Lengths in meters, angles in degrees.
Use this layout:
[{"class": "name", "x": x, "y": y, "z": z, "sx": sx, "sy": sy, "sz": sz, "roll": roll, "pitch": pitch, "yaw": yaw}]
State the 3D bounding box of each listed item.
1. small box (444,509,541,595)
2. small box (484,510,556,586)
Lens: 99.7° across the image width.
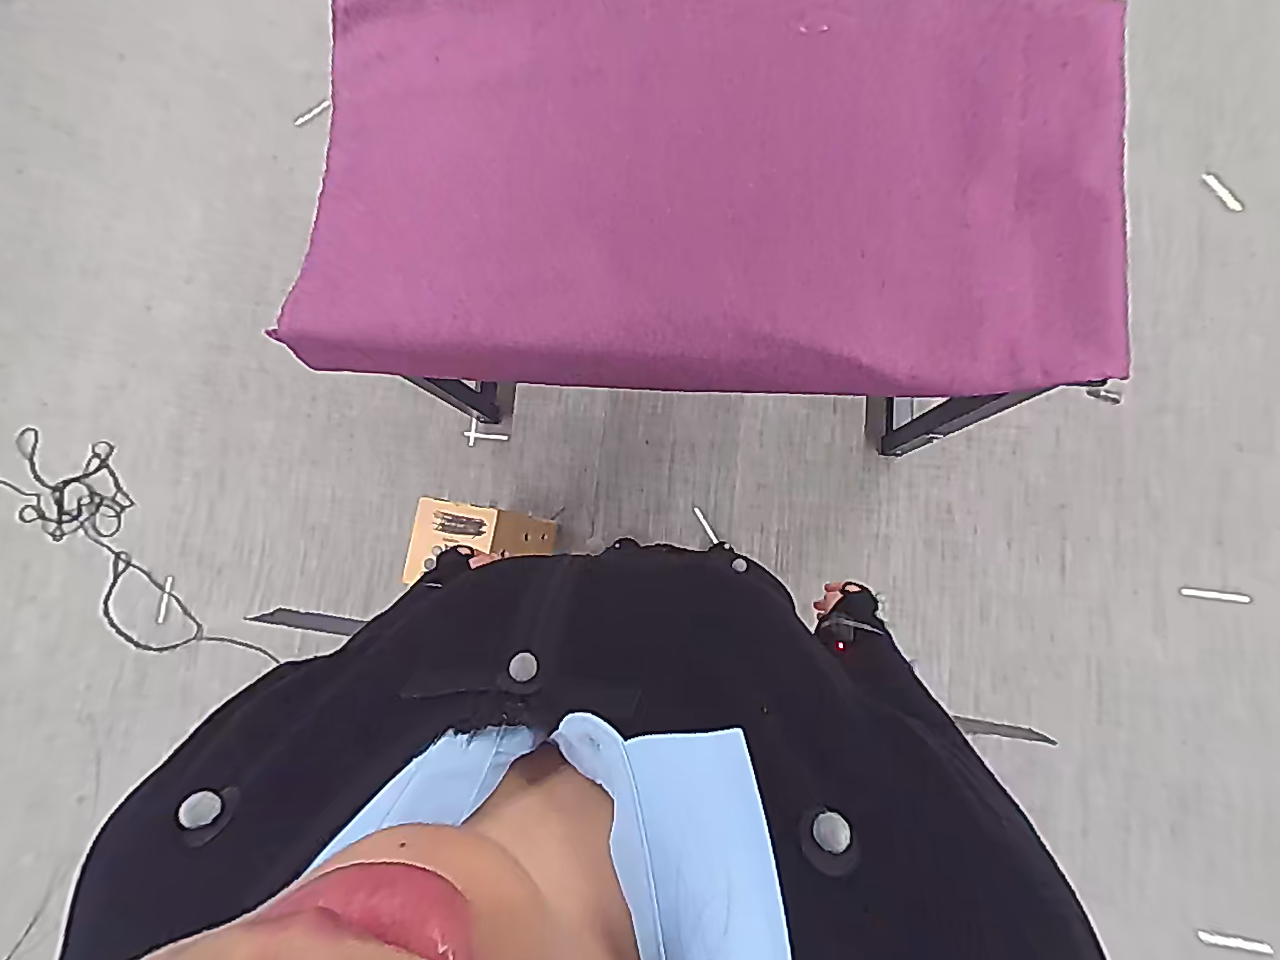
[{"class": "small box", "x": -0.343, "y": 0.171, "z": 1.293, "sx": 0.168, "sy": 0.176, "sz": 0.179, "roll": 7, "pitch": 84, "yaw": 6}, {"class": "small box", "x": -0.336, "y": 0.187, "z": 1.457, "sx": 0.168, "sy": 0.176, "sz": 0.179, "roll": 12, "pitch": 84, "yaw": 6}]
